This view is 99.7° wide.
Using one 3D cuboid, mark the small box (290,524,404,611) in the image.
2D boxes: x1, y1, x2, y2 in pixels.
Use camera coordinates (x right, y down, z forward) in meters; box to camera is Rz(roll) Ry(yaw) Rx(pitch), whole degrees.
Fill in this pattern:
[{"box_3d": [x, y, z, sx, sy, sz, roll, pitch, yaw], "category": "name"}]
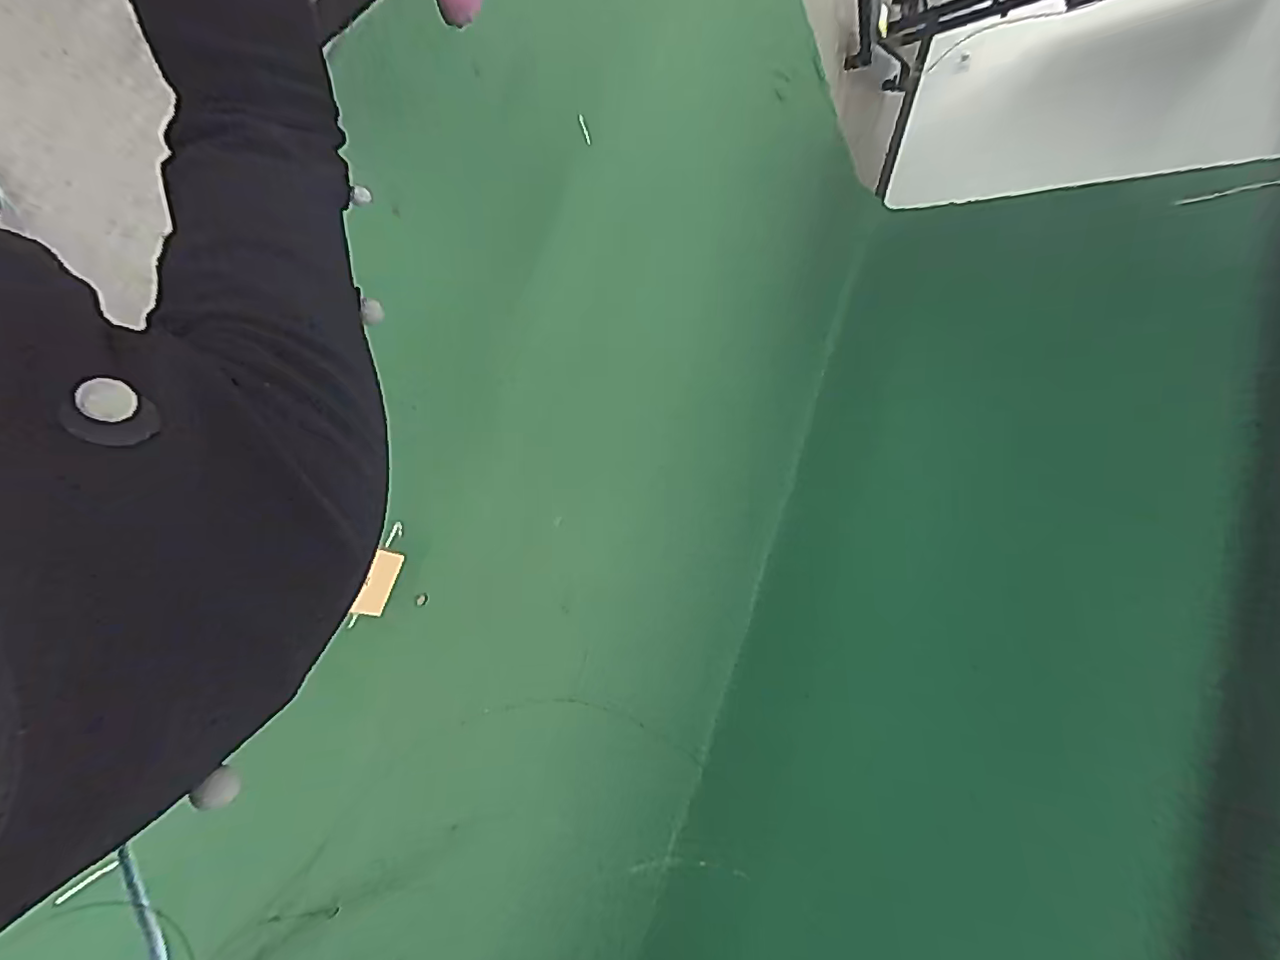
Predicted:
[{"box_3d": [-0.758, 0.223, 1.400, 0.179, 0.176, 0.168, 32, 75, -50], "category": "small box"}]
